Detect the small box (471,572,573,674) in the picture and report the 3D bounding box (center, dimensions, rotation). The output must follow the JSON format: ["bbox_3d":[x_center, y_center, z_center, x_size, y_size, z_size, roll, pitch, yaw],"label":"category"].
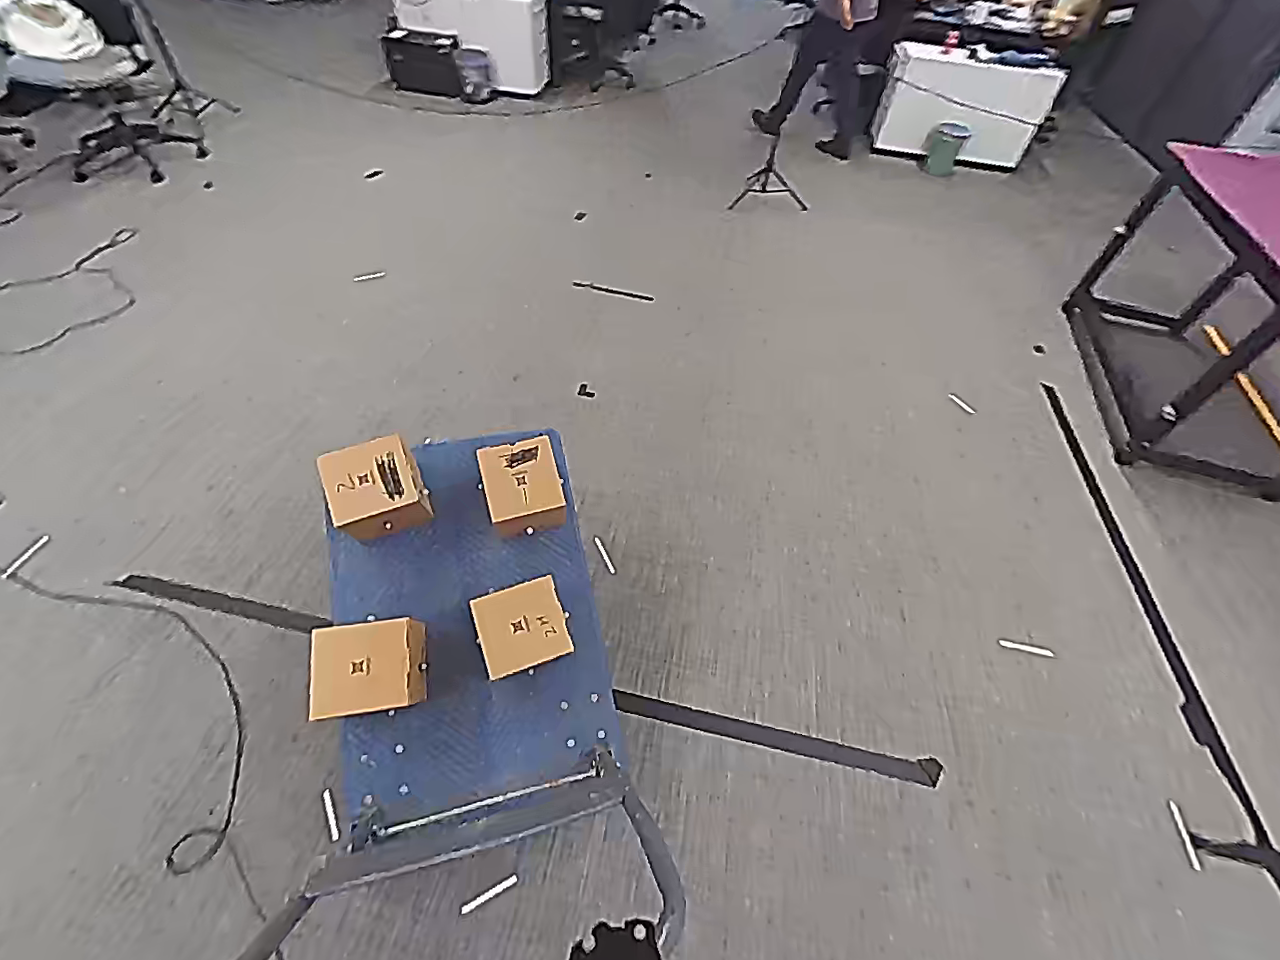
[{"bbox_3d":[-0.252,0.317,1.183,0.179,0.176,0.168,-16,75,-14],"label":"small box"}]

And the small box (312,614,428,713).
[{"bbox_3d":[-0.547,0.377,1.113,0.179,0.176,0.168,-5,72,-13],"label":"small box"}]

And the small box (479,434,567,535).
[{"bbox_3d":[-0.276,0.014,1.282,0.168,0.176,0.179,-13,75,-13],"label":"small box"}]
